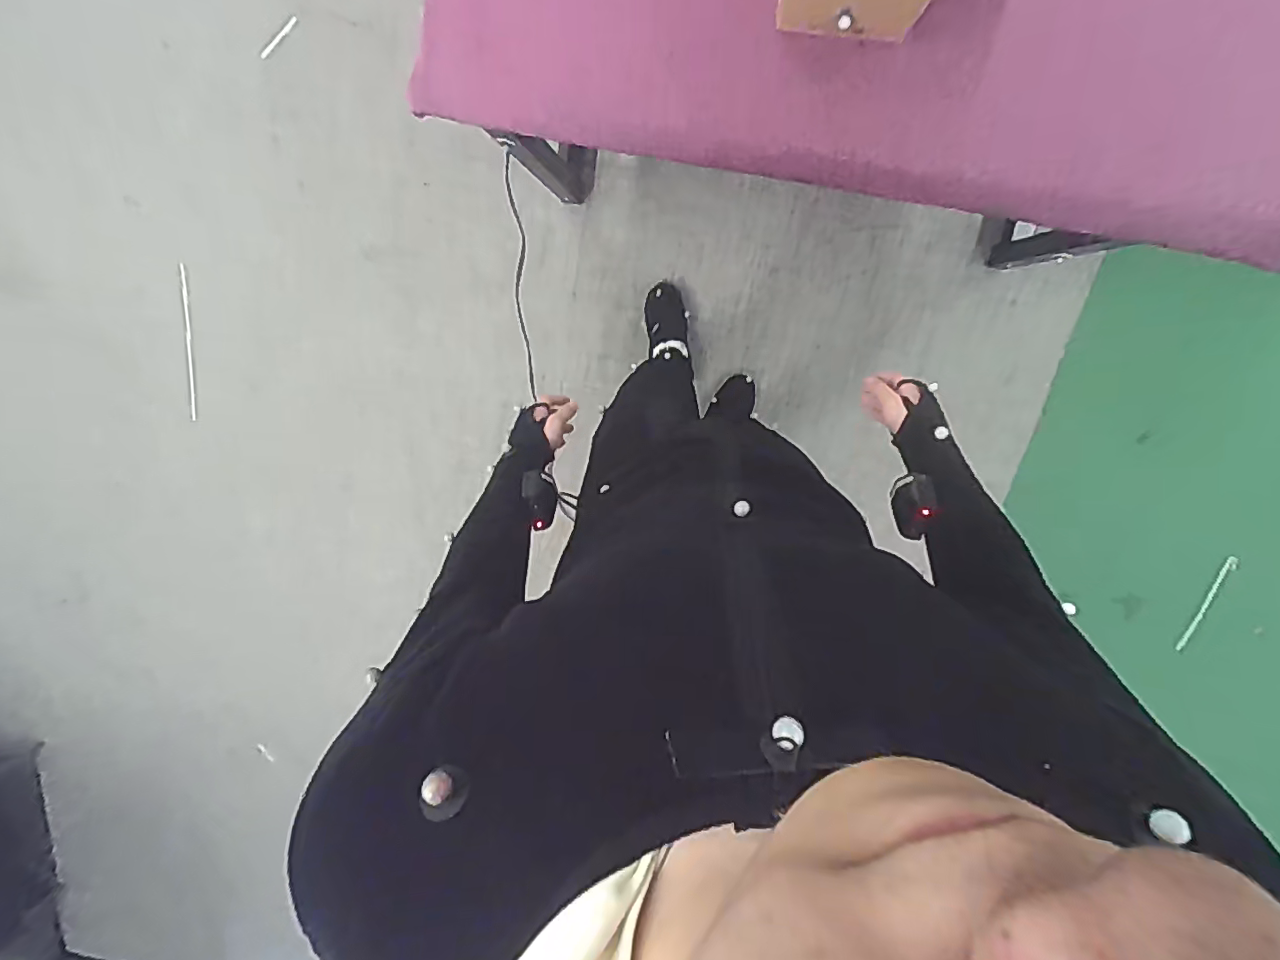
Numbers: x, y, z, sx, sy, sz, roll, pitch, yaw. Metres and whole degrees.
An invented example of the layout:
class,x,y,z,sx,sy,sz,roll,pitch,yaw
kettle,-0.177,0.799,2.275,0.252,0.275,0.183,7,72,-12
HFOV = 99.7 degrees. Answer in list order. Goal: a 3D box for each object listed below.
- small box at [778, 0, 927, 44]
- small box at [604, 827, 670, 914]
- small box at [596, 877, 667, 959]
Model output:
class,x,y,z,sx,sy,sz,roll,pitch,yaw
small box,0.258,-0.635,0.599,0.168,0.176,0.179,10,106,4
small box,-0.004,1.222,1.666,0.168,0.176,0.179,13,108,2
small box,-0.022,1.268,1.511,0.168,0.176,0.179,12,106,3
